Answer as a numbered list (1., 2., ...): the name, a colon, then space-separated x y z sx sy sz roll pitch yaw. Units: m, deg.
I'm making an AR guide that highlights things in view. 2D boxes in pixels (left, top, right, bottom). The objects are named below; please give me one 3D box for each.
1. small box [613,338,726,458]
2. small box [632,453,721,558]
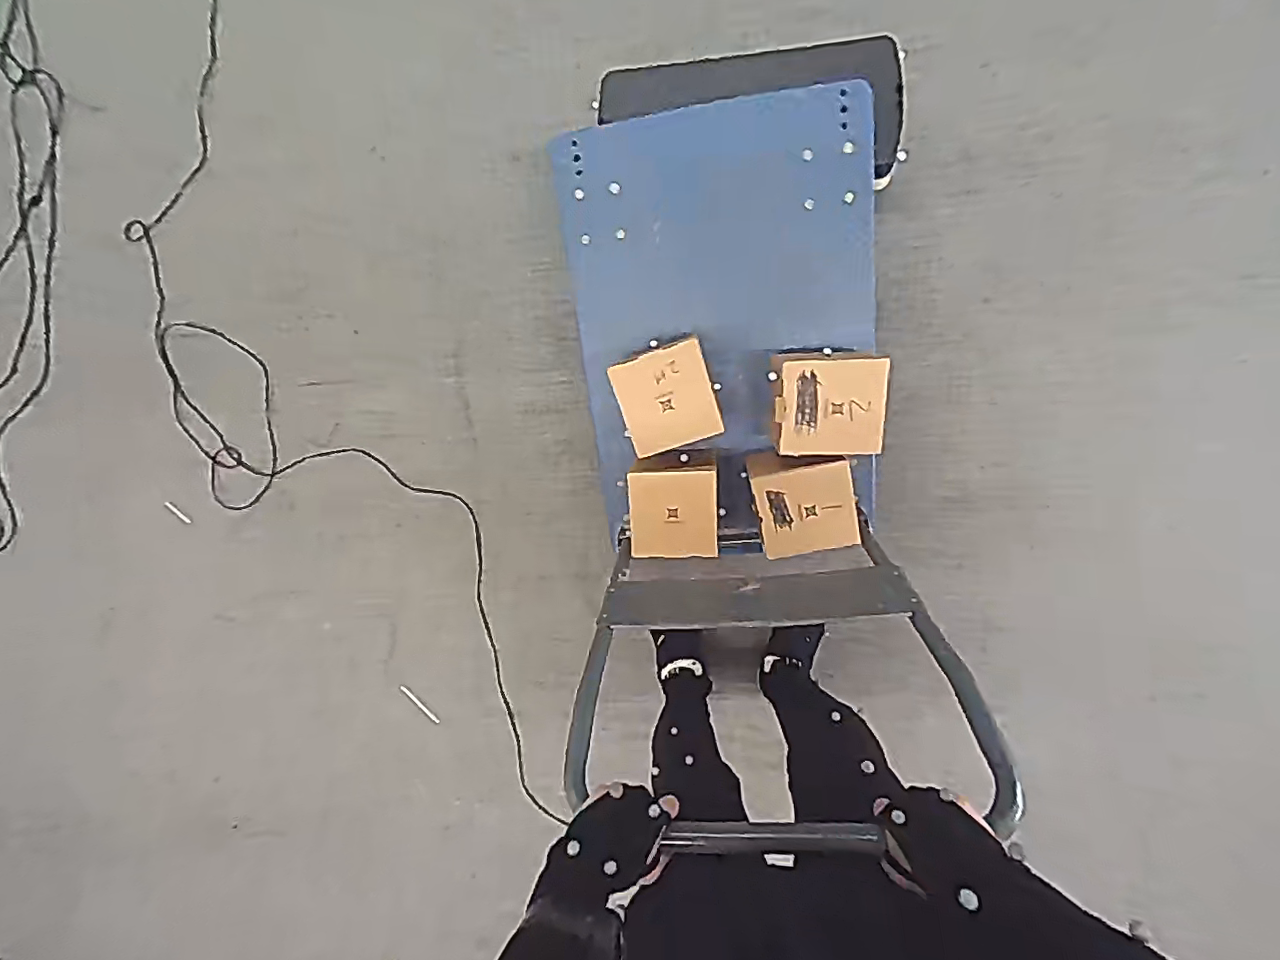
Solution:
1. small box: 0.063 -0.162 1.031 0.168 0.176 0.179 -16 103 11
2. small box: 0.076 0.043 1.092 0.168 0.176 0.179 0 107 7
